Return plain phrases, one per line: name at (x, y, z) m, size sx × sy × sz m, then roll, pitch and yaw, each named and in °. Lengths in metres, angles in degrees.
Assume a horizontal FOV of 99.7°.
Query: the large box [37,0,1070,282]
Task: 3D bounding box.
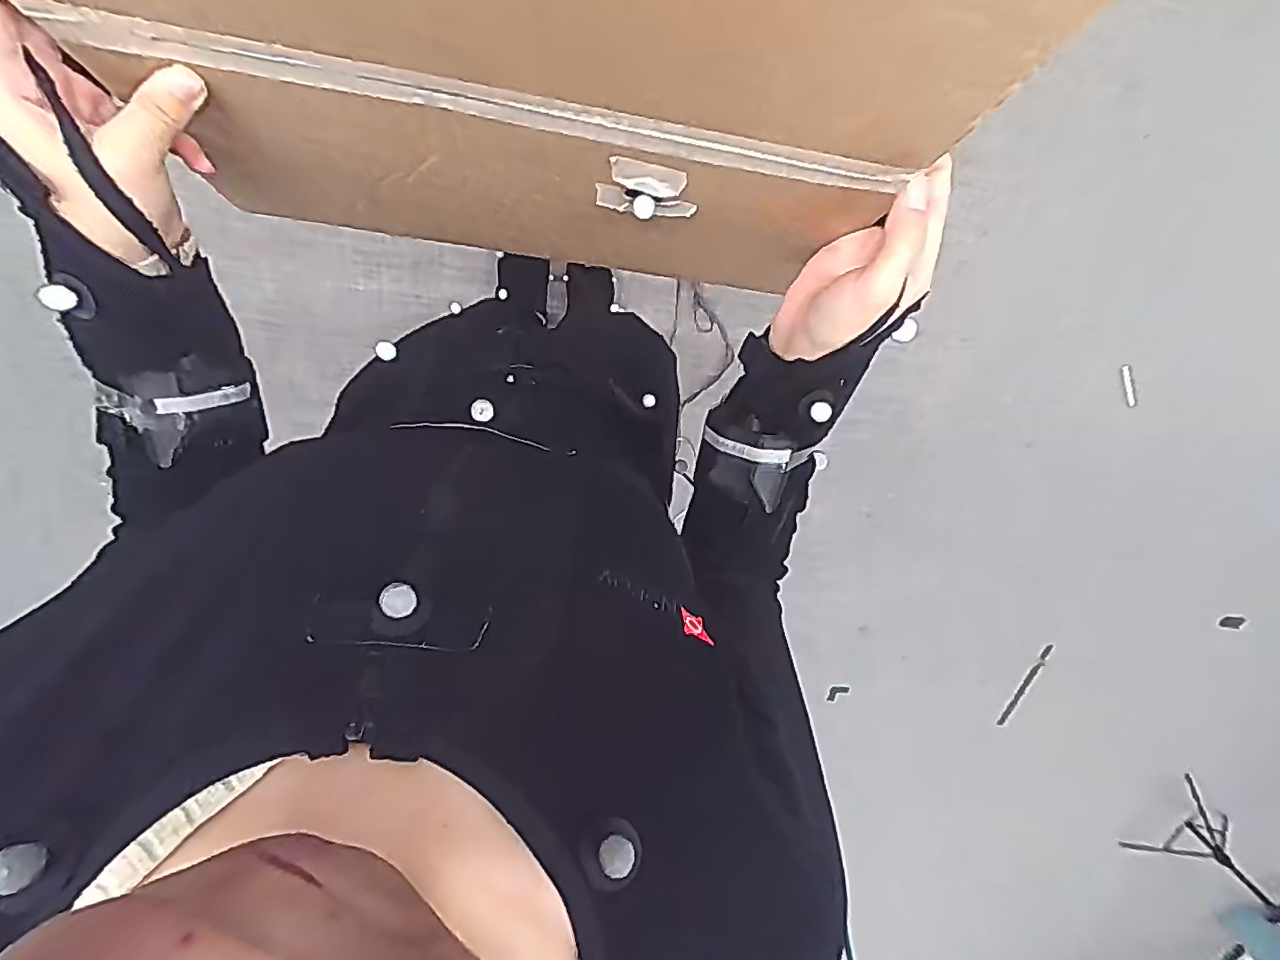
large box at (-0.046, -0.332, 0.266) m, size 0.408 × 0.320 × 0.320 m, roll 5°, pitch 87°, yaw -8°
